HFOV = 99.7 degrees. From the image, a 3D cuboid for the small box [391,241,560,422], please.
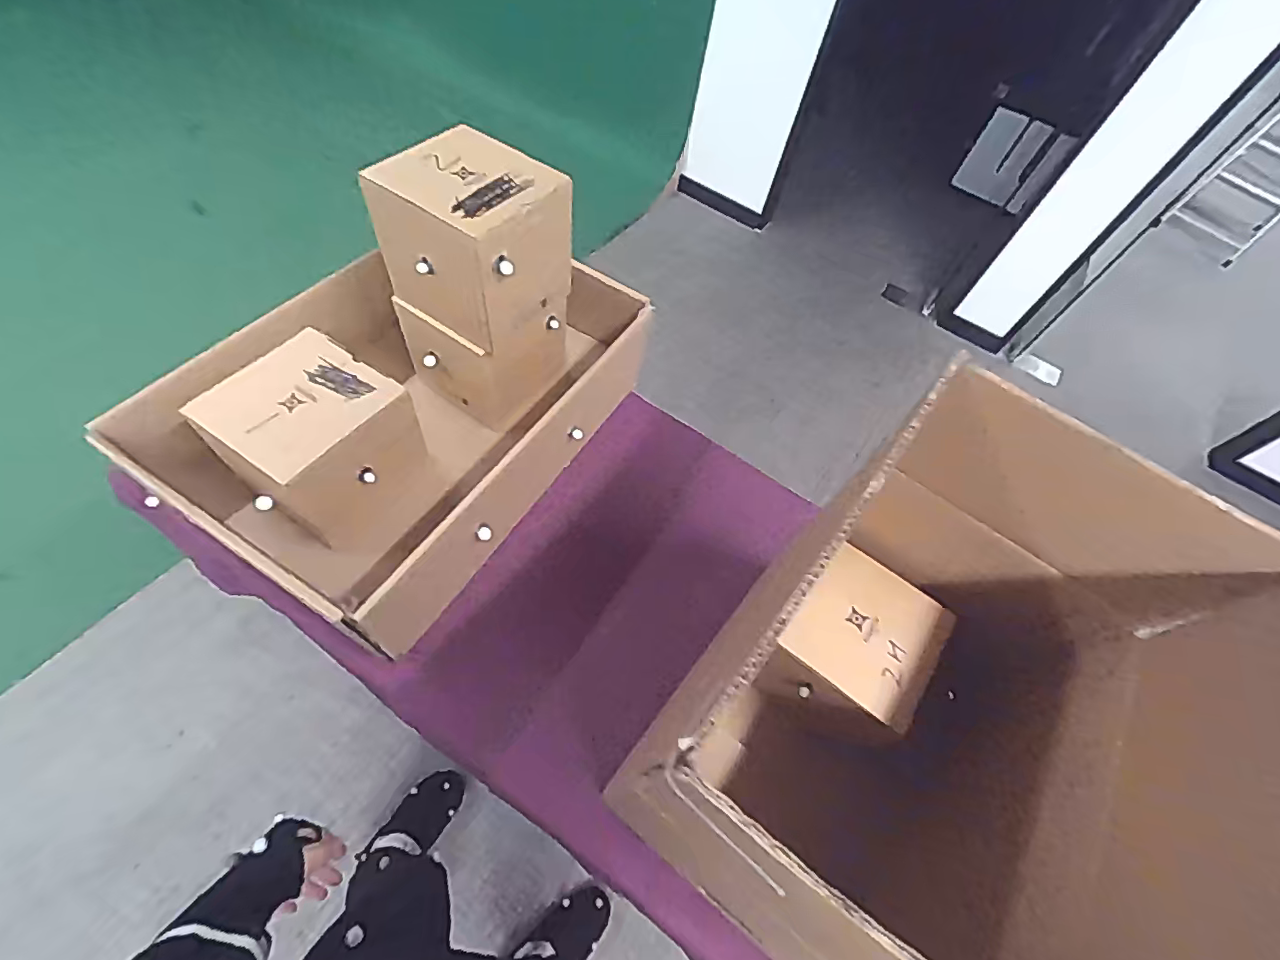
[{"bbox_3d":[-0.236,-0.220,0.824,0.168,0.176,0.179,33,59,12],"label":"small box"}]
